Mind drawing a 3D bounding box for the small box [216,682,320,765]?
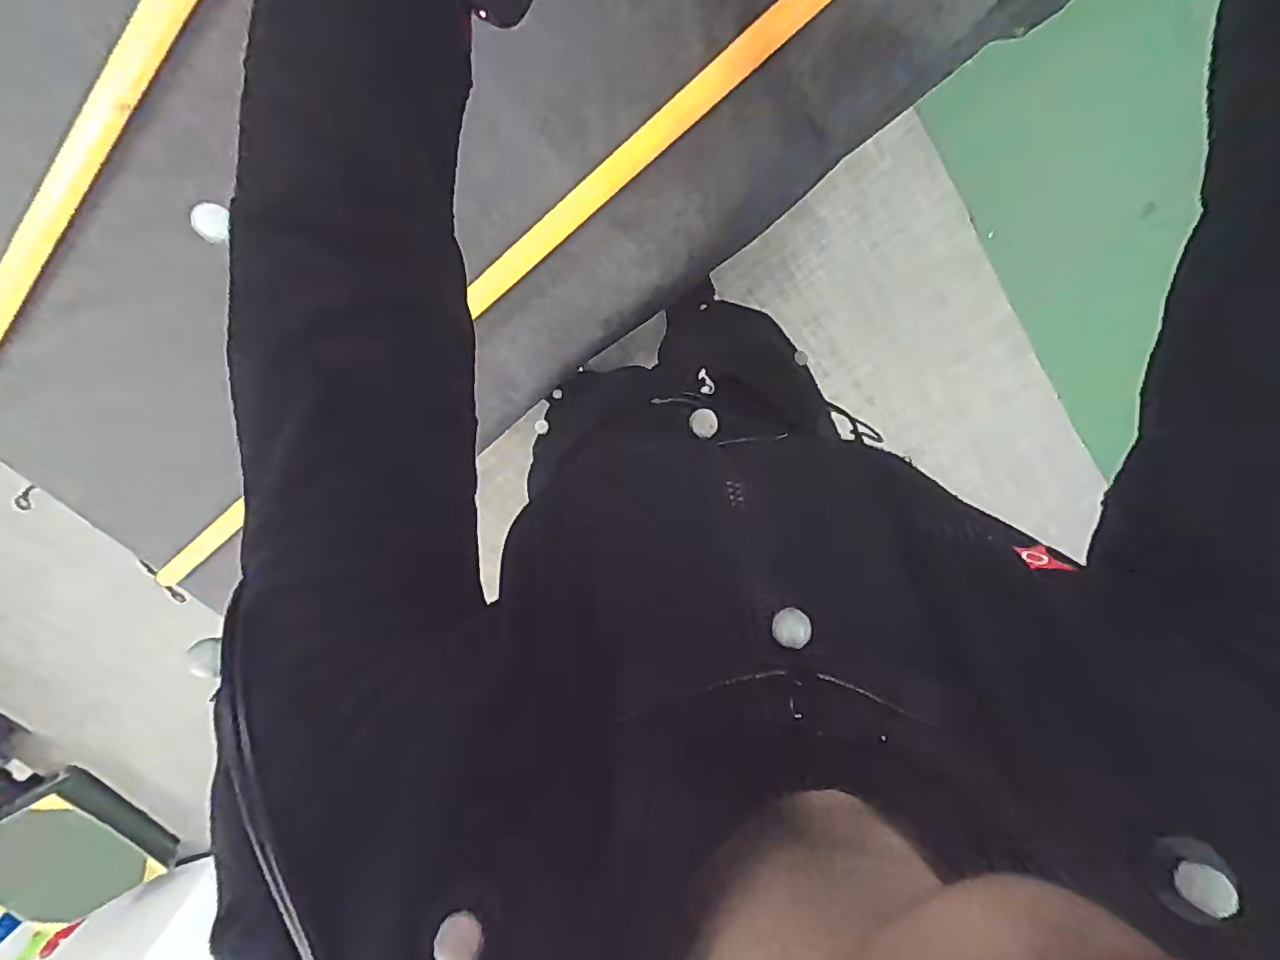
[{"bbox_3d":[-1.120,0.740,1.651,0.179,0.176,0.168,-9,115,10],"label":"small box"}]
